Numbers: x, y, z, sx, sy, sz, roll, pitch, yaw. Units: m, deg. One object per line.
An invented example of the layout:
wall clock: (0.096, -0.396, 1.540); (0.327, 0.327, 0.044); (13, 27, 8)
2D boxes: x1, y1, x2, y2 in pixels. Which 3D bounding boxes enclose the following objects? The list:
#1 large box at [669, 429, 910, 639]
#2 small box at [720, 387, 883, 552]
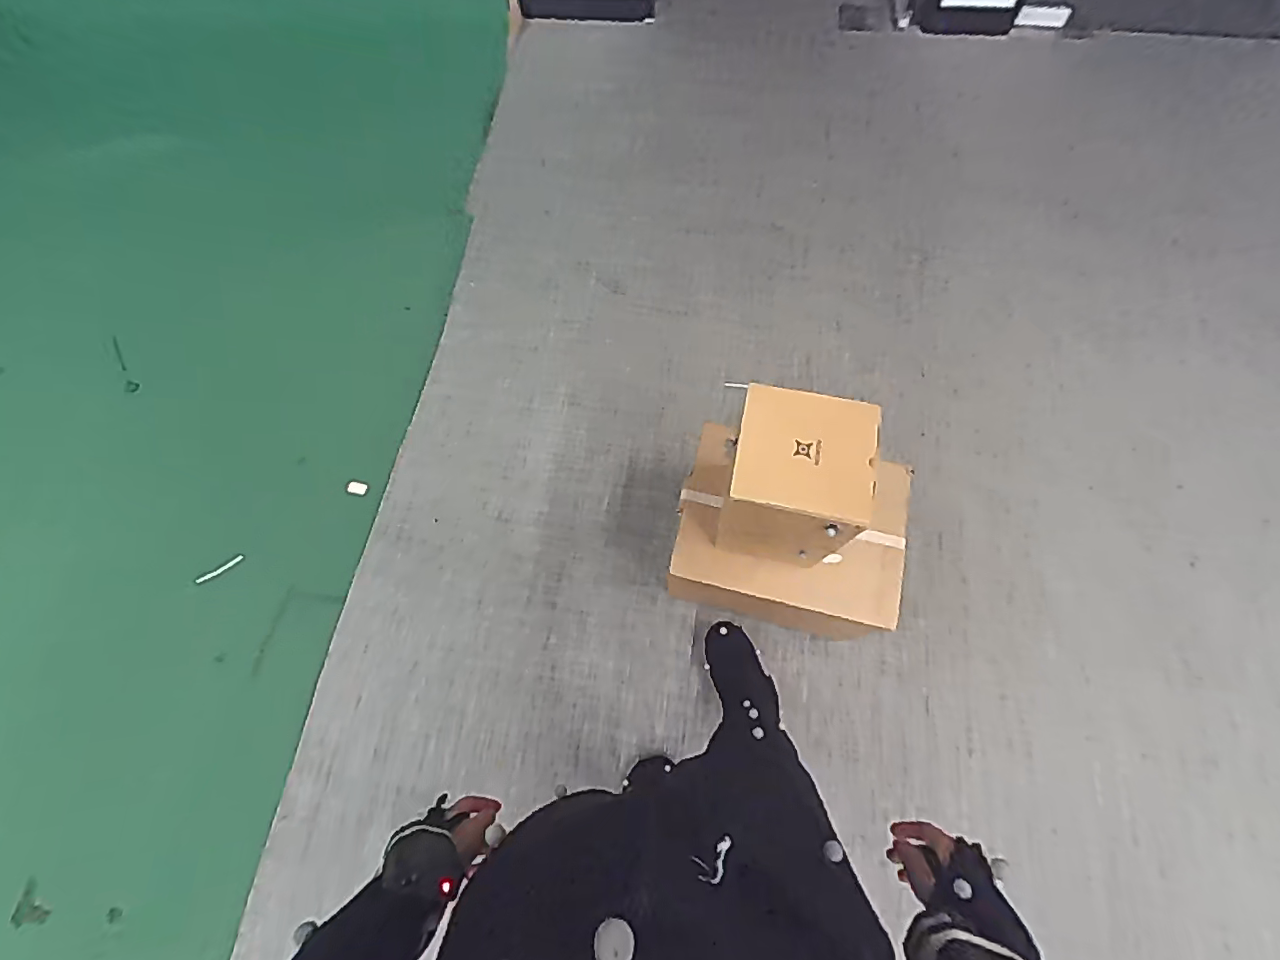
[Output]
large box: (0.288, 0.127, 1.138); (0.408, 0.320, 0.320); (13, 72, 6)
small box: (0.215, -0.006, 0.756); (0.179, 0.176, 0.168); (11, 71, 6)
